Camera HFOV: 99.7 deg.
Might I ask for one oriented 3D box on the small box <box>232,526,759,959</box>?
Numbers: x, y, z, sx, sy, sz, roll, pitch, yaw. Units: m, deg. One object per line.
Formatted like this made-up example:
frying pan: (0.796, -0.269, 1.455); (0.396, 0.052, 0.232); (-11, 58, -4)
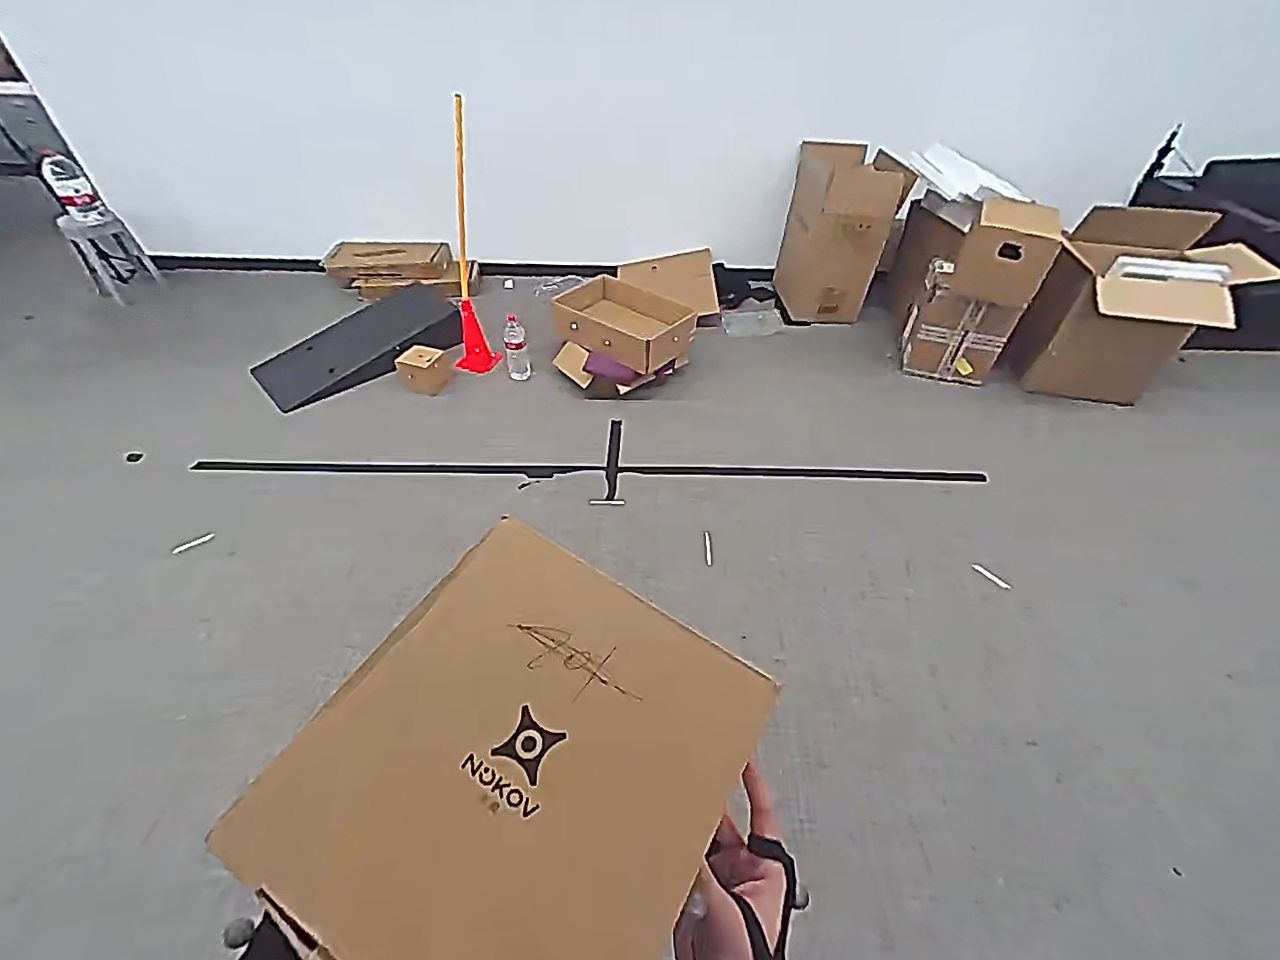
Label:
small box: (-0.059, 0.166, 0.305); (0.168, 0.176, 0.179); (29, 56, 13)
